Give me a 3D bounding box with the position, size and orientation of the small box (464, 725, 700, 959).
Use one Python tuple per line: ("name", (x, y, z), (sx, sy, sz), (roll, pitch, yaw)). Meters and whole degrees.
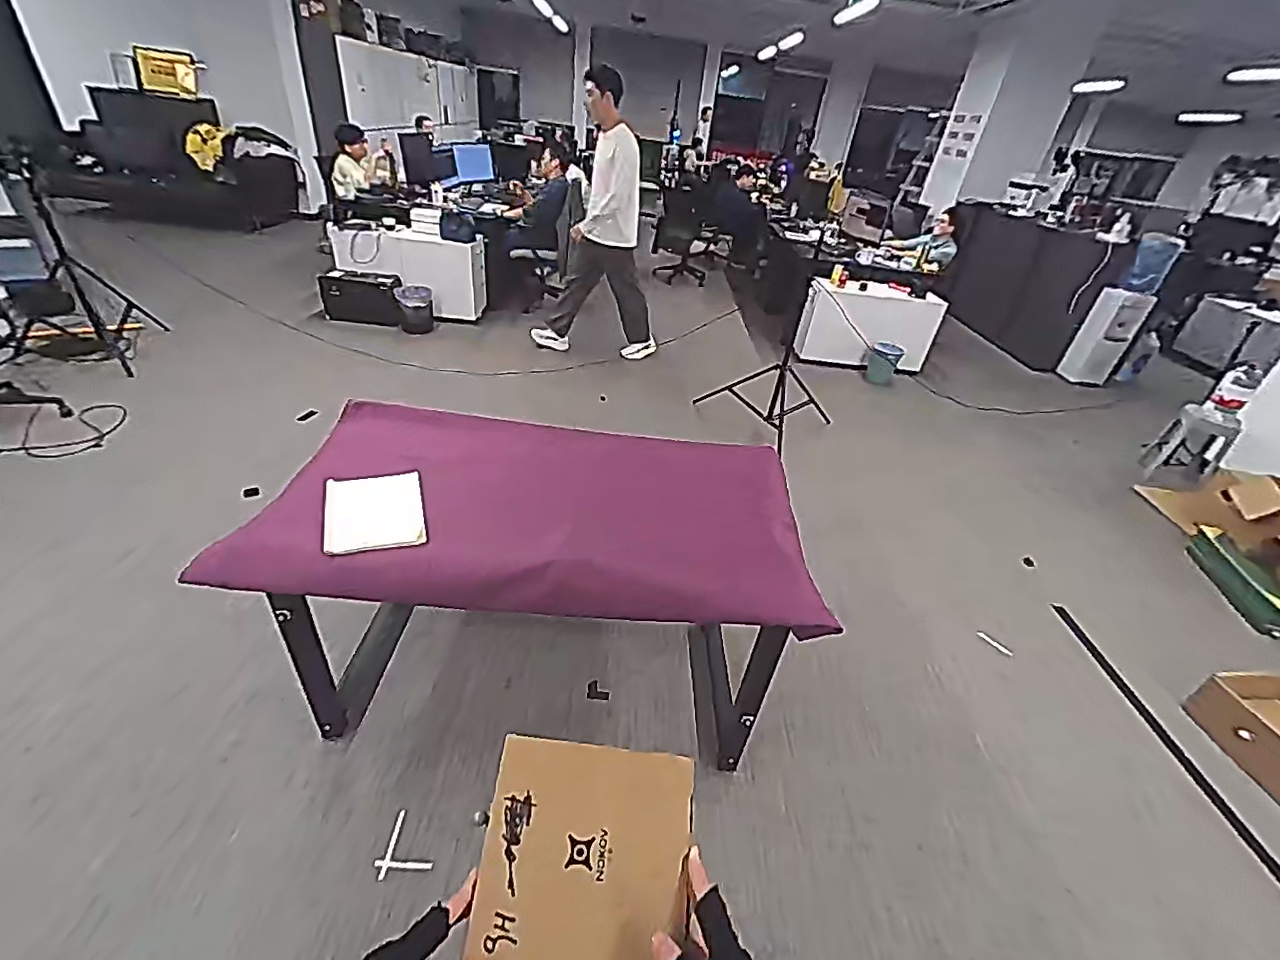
("small box", (-0.054, 0.342, 0.510), (0.179, 0.176, 0.168), (11, 55, -8))
